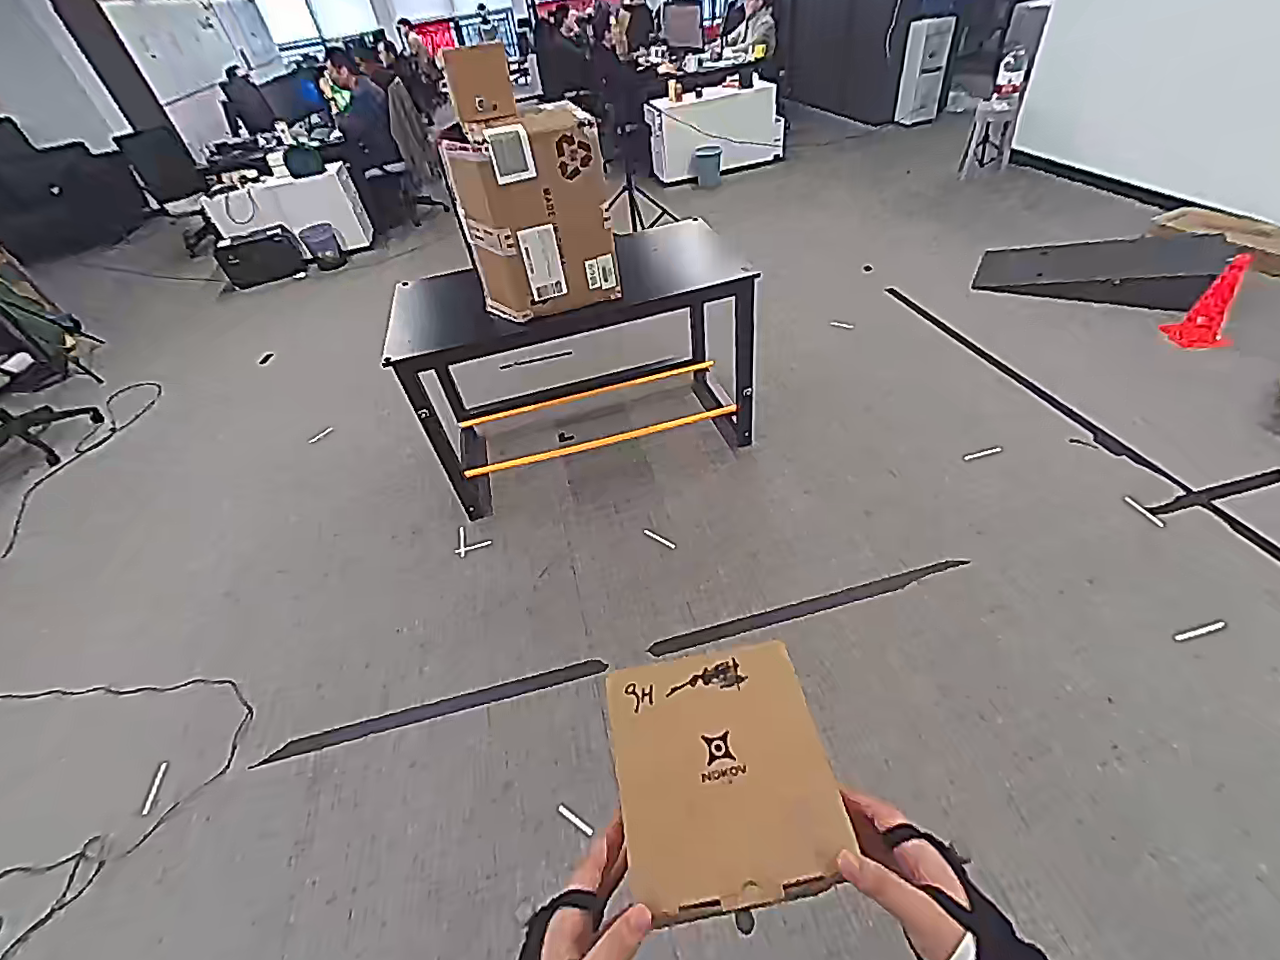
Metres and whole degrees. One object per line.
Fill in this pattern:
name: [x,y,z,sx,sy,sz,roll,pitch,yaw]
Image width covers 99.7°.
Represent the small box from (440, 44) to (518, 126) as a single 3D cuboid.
small box: [-0.458,-1.123,1.540,0.168,0.176,0.179,-18,42,-10]
